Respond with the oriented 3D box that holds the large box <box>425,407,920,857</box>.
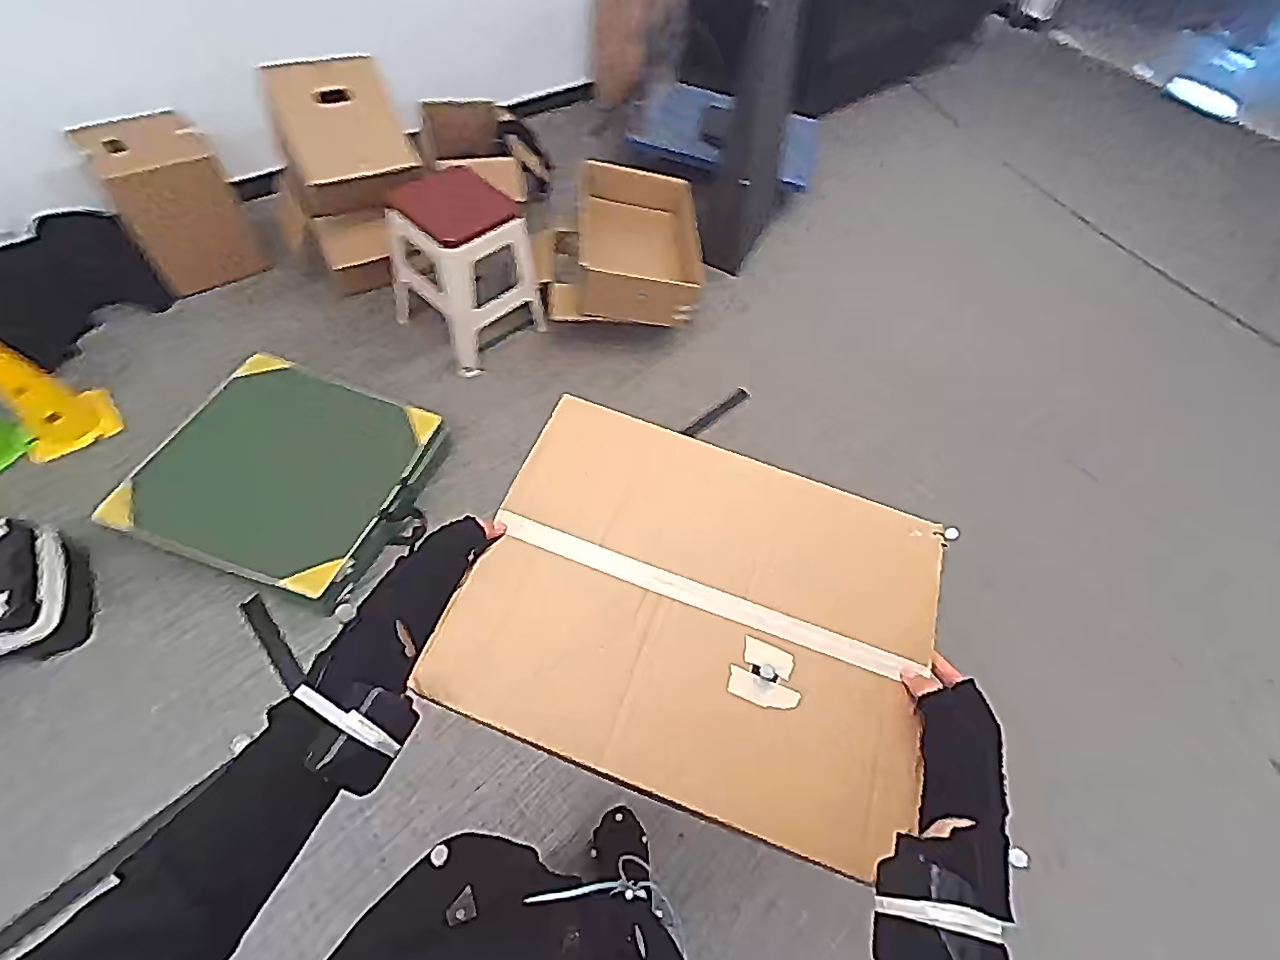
[{"bbox_3d":[0.040,0.174,0.626,0.408,0.320,0.320,19,63,4],"label":"large box"}]
